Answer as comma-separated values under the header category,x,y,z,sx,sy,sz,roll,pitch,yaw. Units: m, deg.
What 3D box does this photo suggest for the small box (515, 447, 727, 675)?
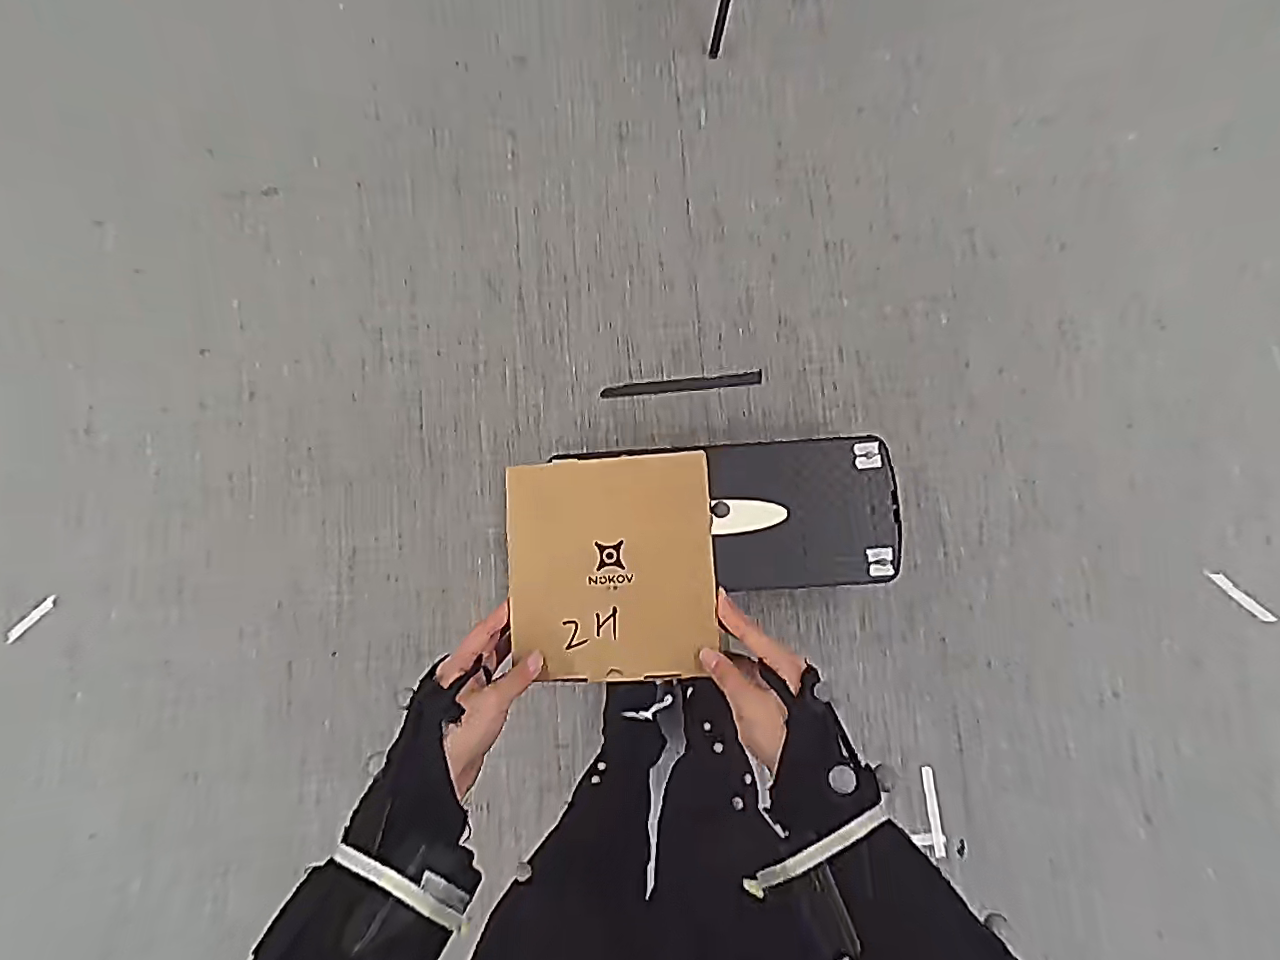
category,x,y,z,sx,sy,sz,roll,pitch,yaw
small box,-0.011,0.073,0.509,0.168,0.176,0.179,-4,83,6

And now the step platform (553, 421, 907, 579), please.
category,x,y,z,sx,sy,sz,roll,pitch,yaw
step platform,0.161,0.053,1.083,0.684,0.204,0.286,-4,83,2
